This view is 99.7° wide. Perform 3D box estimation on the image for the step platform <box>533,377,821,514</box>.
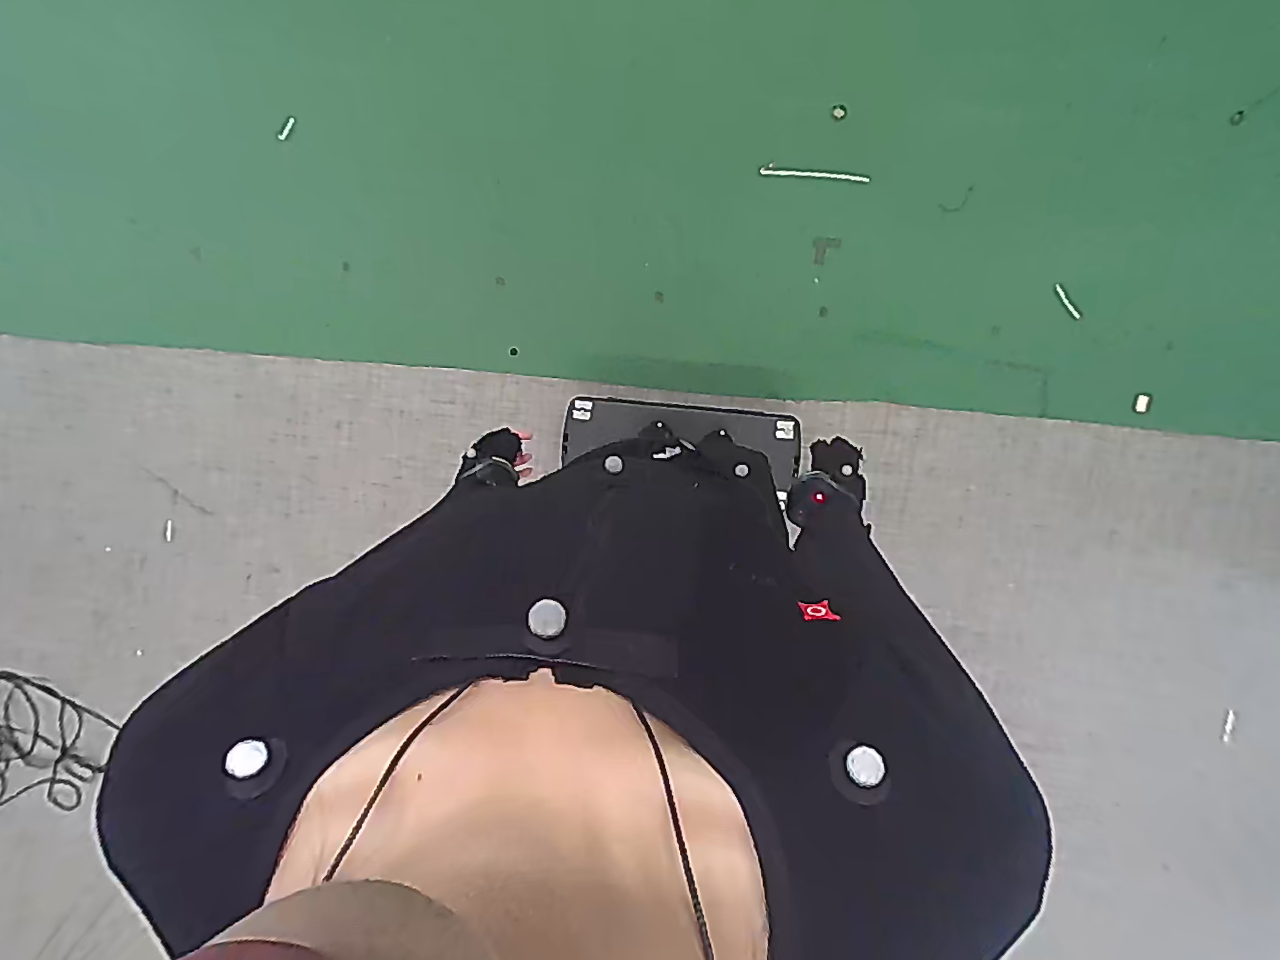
[{"bbox_3d":[0.088,-0.092,1.373,0.684,0.204,0.286,5,97,4],"label":"step platform"}]
